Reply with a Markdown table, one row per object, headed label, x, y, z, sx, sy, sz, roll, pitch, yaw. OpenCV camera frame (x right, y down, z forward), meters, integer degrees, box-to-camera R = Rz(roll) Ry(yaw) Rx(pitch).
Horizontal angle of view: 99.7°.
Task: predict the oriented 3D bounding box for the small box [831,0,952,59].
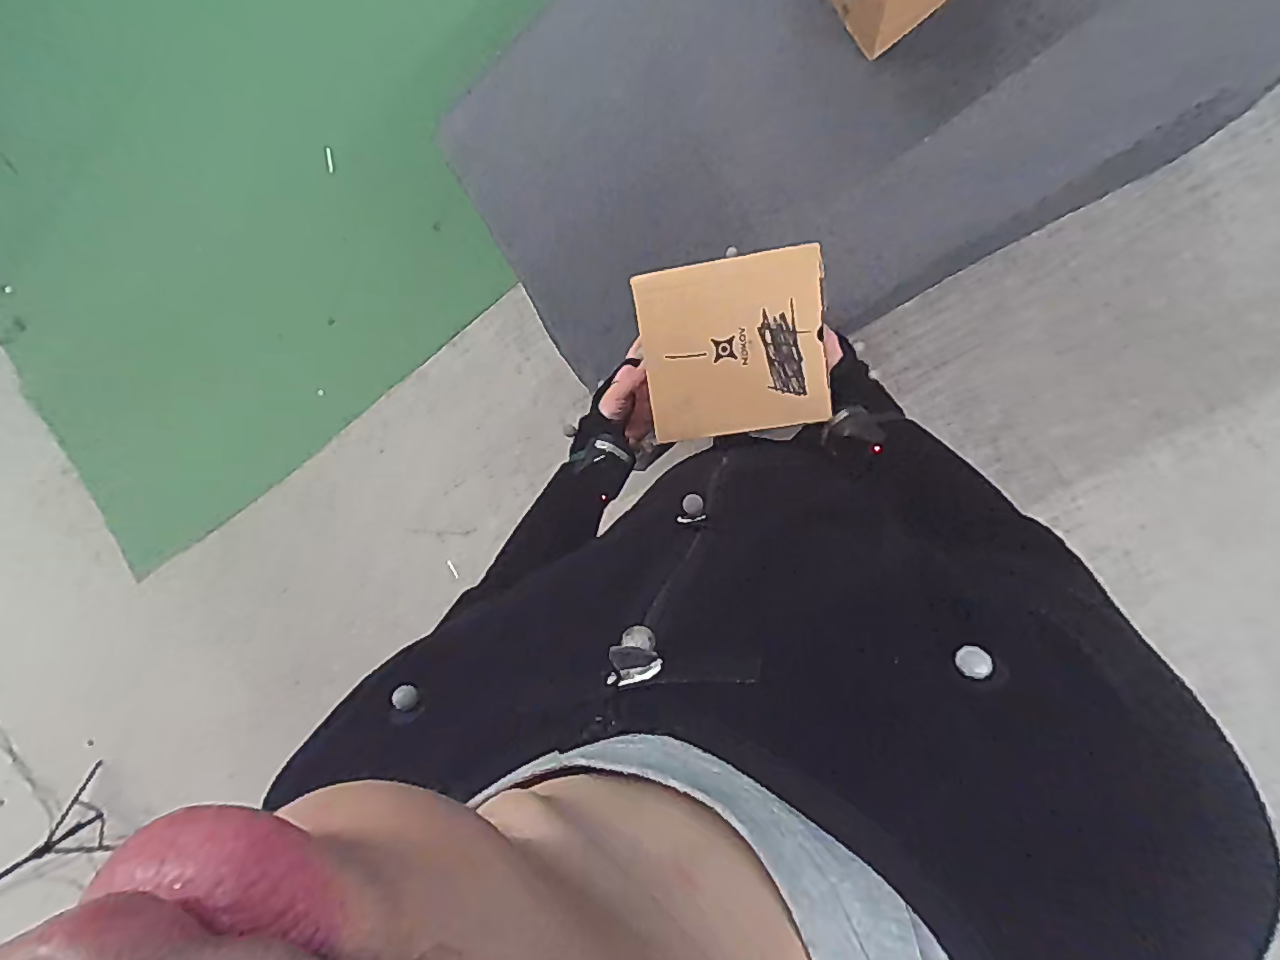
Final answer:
| label | x | y | z | sx | sy | sz | roll | pitch | yaw |
| --- | --- | --- | --- | --- | --- | --- | --- | --- | --- |
| small box | 0.291 | -0.615 | 0.577 | 0.179 | 0.176 | 0.168 | -33 | 90 | 17 |
